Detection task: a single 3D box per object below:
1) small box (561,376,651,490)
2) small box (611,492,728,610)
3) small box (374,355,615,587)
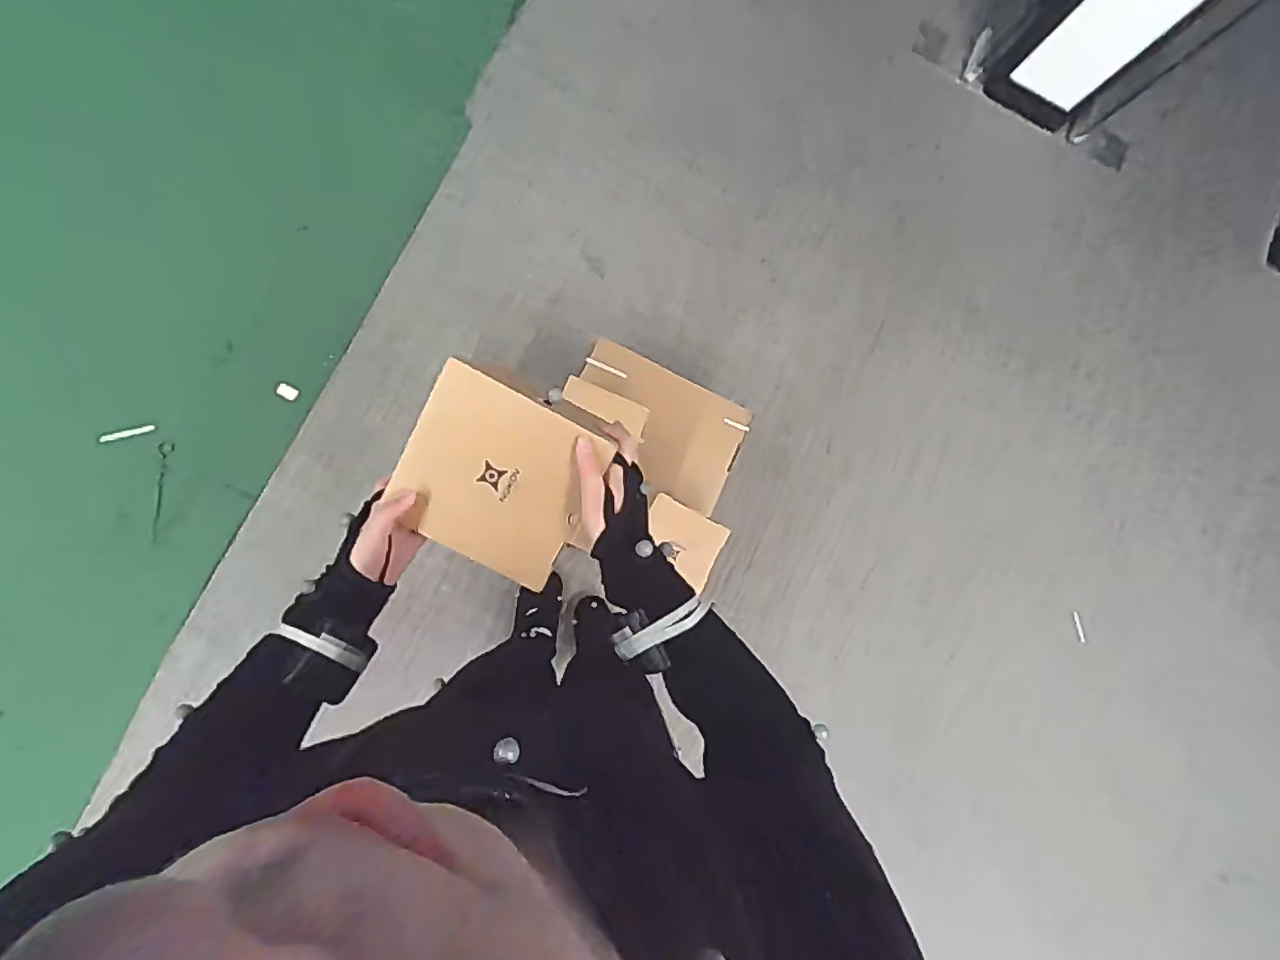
[{"bbox_3d":[-0.098,-0.087,1.120,0.179,0.176,0.168,24,80,-5],"label":"small box"},{"bbox_3d":[0.051,0.143,1.118,0.168,0.176,0.179,30,80,-6],"label":"small box"},{"bbox_3d":[-0.141,-0.017,0.585,0.179,0.176,0.168,28,99,-7],"label":"small box"}]
